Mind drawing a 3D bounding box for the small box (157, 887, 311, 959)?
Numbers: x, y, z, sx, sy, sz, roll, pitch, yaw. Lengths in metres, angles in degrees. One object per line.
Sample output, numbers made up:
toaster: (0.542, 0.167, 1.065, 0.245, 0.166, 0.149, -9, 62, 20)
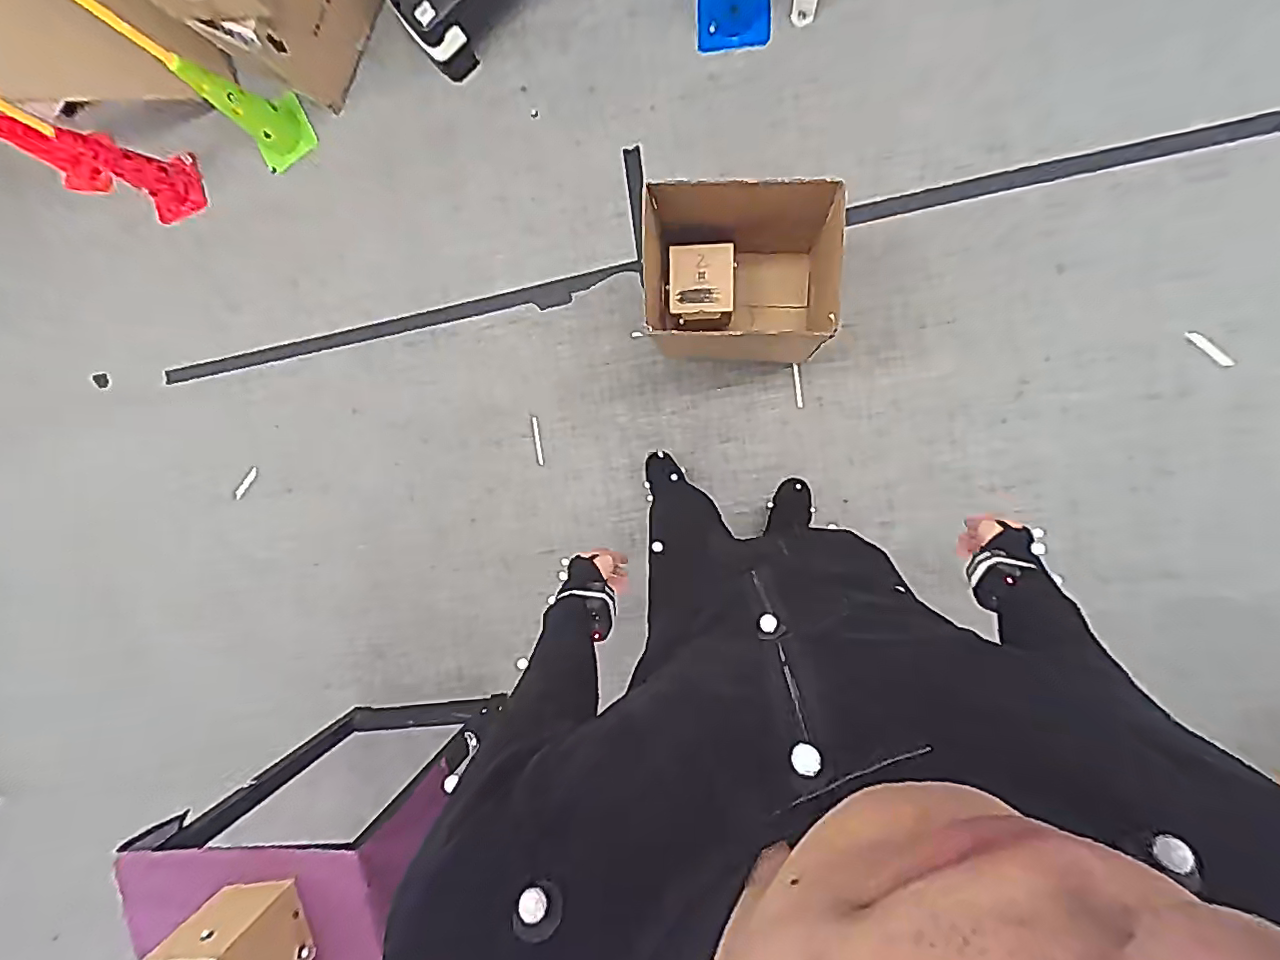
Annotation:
small box: (-0.760, 0.911, 1.021, 0.179, 0.176, 0.168, -14, 92, 12)
